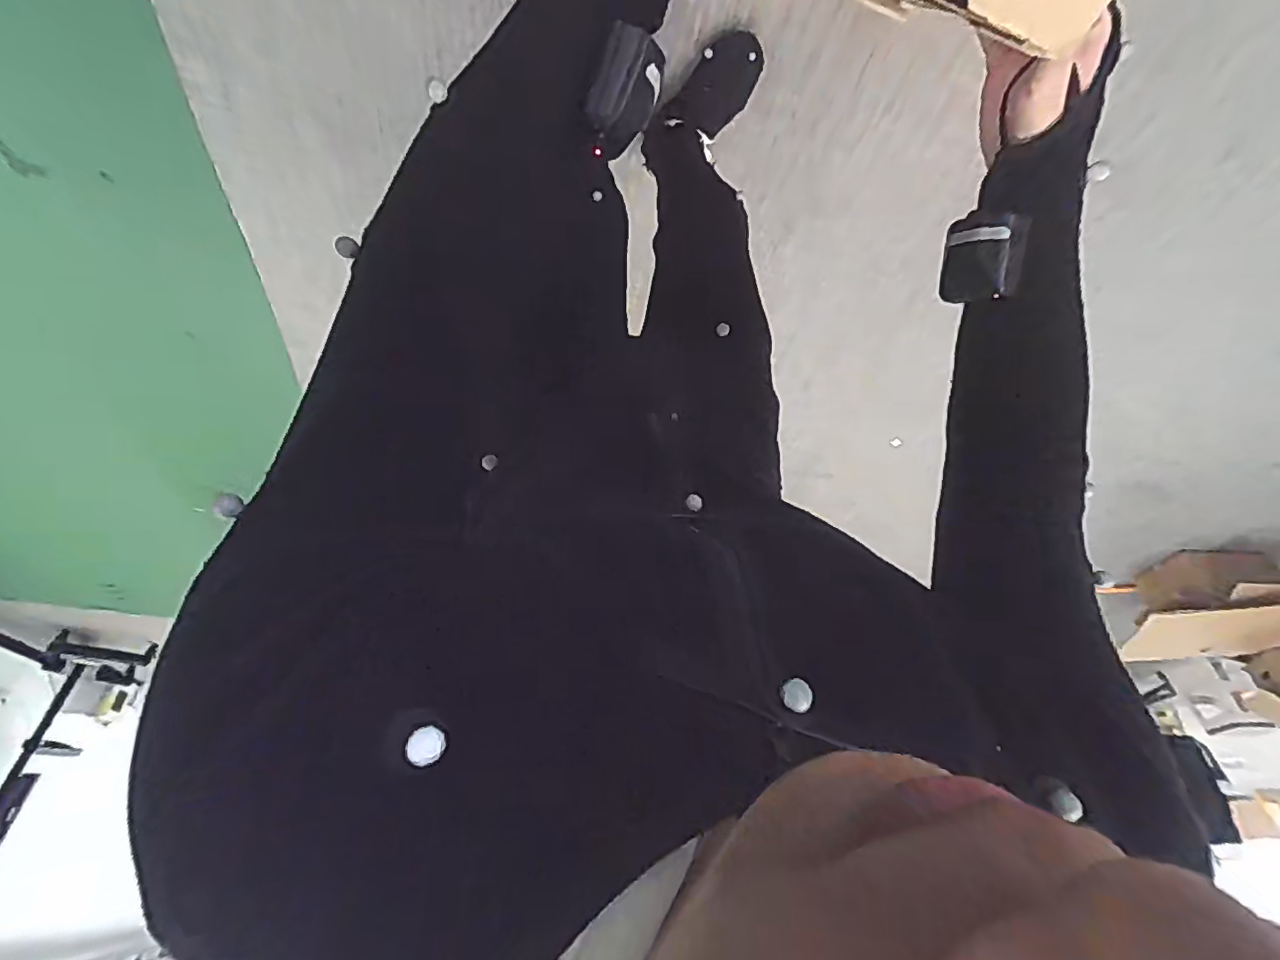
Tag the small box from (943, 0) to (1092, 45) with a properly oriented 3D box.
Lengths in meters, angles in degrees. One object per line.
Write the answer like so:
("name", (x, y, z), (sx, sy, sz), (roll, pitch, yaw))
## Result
("small box", (0.203, -0.393, 0.303), (0.168, 0.176, 0.179), (12, 136, -11))
